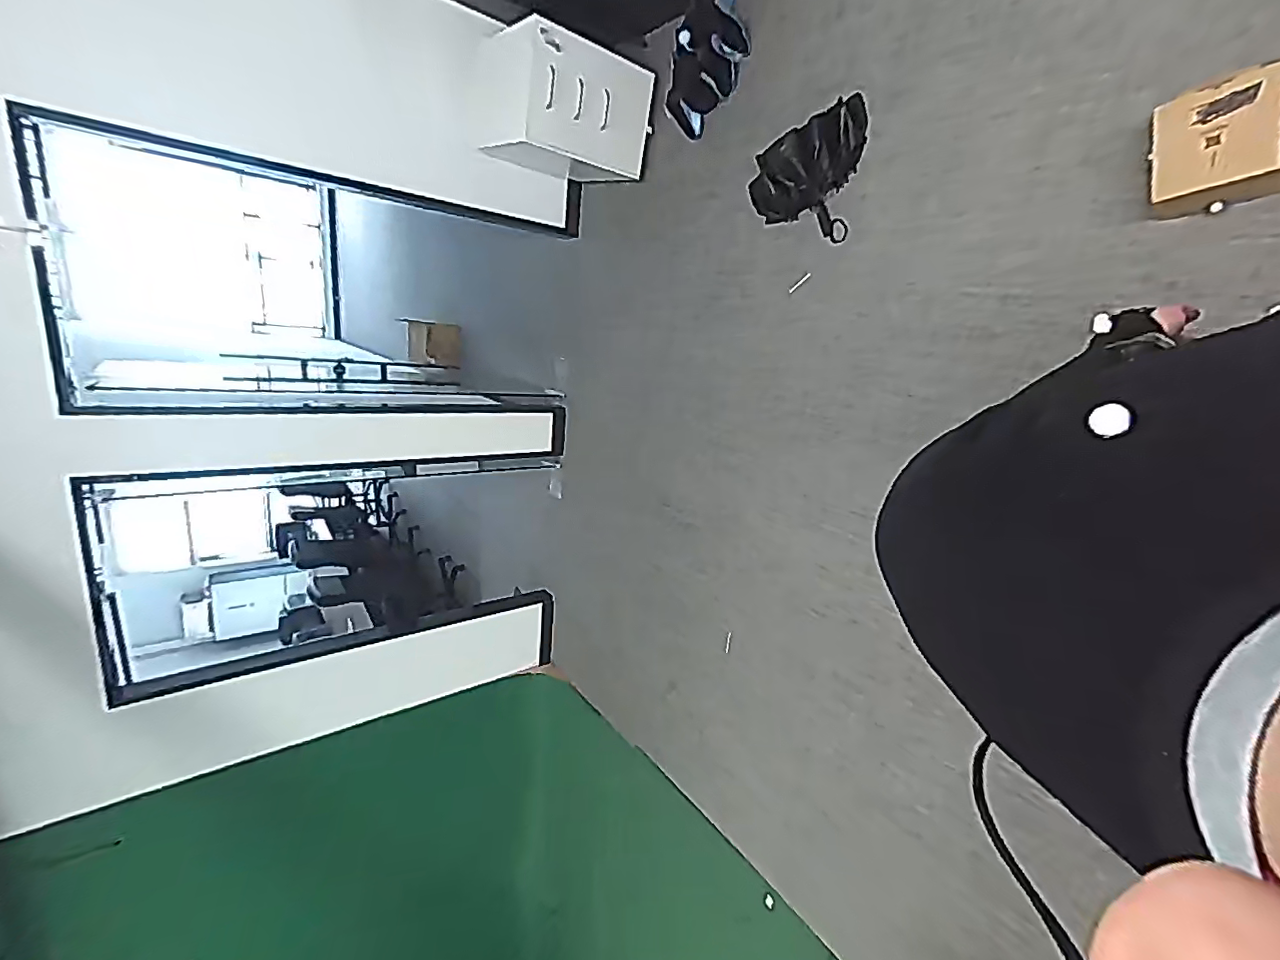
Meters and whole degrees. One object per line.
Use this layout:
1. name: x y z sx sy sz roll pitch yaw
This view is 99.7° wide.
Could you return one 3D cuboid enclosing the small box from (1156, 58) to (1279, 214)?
1. small box: 1.087 -0.622 0.999 0.168 0.176 0.179 4 99 53
